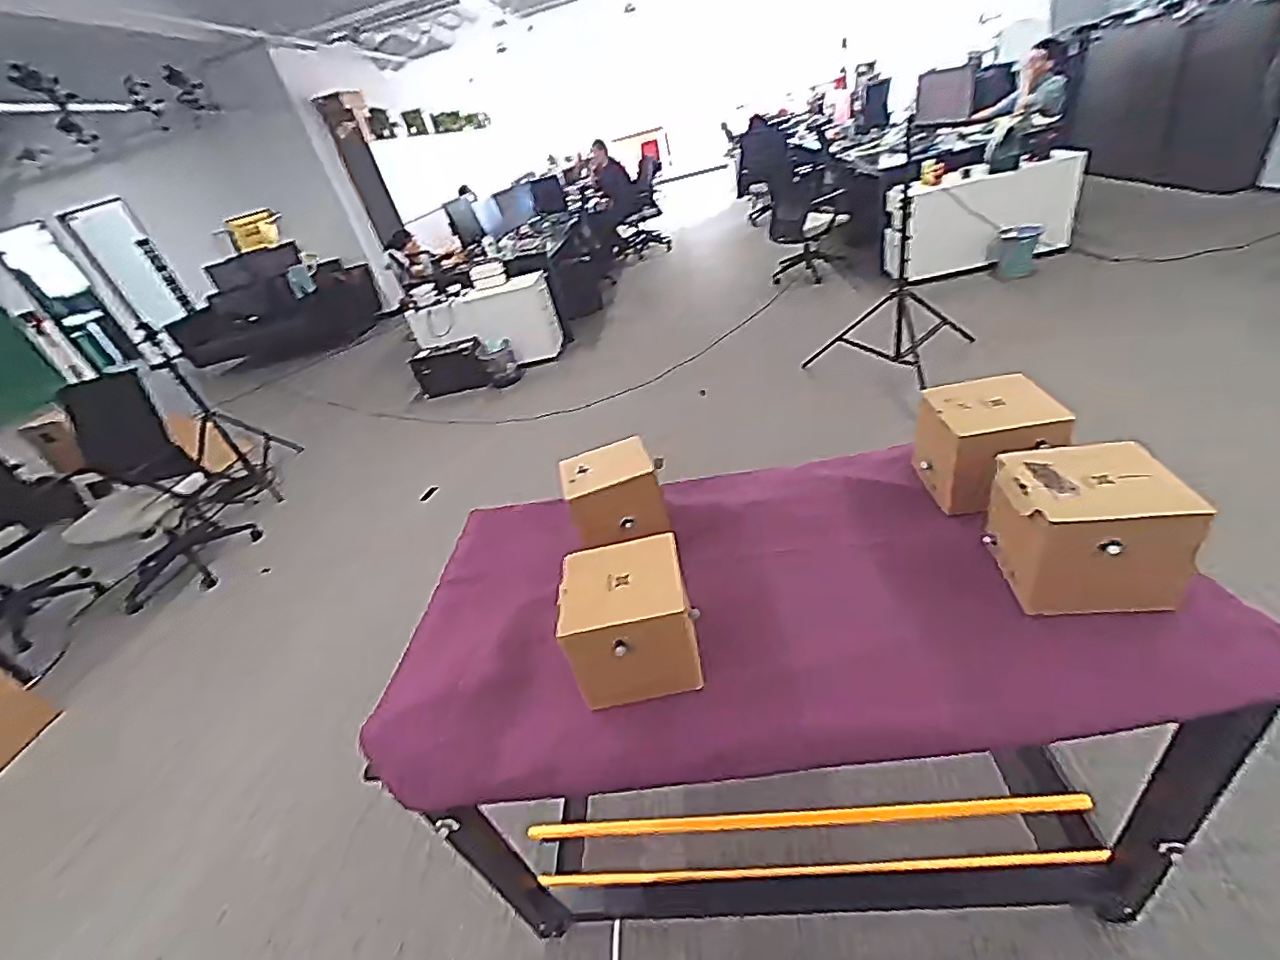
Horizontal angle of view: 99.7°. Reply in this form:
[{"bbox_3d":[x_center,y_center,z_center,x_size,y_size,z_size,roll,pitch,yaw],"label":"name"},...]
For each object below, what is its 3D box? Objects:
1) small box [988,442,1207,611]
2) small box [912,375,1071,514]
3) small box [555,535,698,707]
[{"bbox_3d":[0.613,0.068,0.758,0.179,0.176,0.168,-6,33,14],"label":"small box"},{"bbox_3d":[0.602,-0.062,0.955,0.179,0.176,0.168,-10,34,9],"label":"small box"},{"bbox_3d":[-0.014,0.212,0.813,0.179,0.176,0.168,-13,32,5],"label":"small box"}]
